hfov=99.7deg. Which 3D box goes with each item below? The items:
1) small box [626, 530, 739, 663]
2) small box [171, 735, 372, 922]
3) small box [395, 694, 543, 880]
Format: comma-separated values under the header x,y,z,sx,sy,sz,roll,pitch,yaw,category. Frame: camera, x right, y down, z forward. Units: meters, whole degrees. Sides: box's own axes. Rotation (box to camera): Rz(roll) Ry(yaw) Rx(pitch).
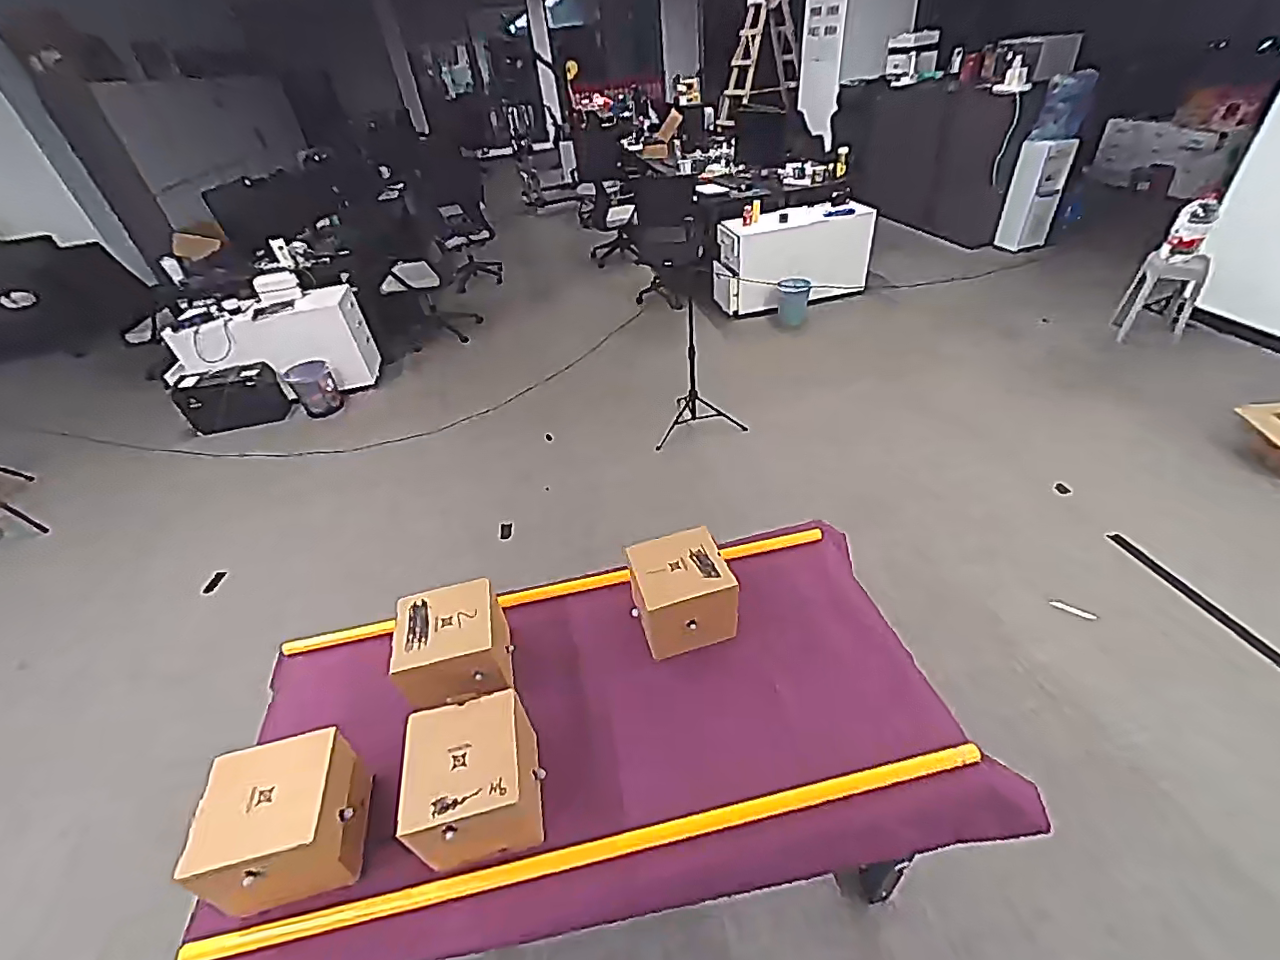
x,y,z,sx,sy,sz,roll,pitch,yaw,category
0.082,0.230,1.071,0.179,0.176,0.168,-15,40,-8,small box
-0.526,0.519,0.808,0.179,0.176,0.168,-13,38,-8,small box
-0.251,0.468,0.829,0.168,0.176,0.179,-13,38,-6,small box
